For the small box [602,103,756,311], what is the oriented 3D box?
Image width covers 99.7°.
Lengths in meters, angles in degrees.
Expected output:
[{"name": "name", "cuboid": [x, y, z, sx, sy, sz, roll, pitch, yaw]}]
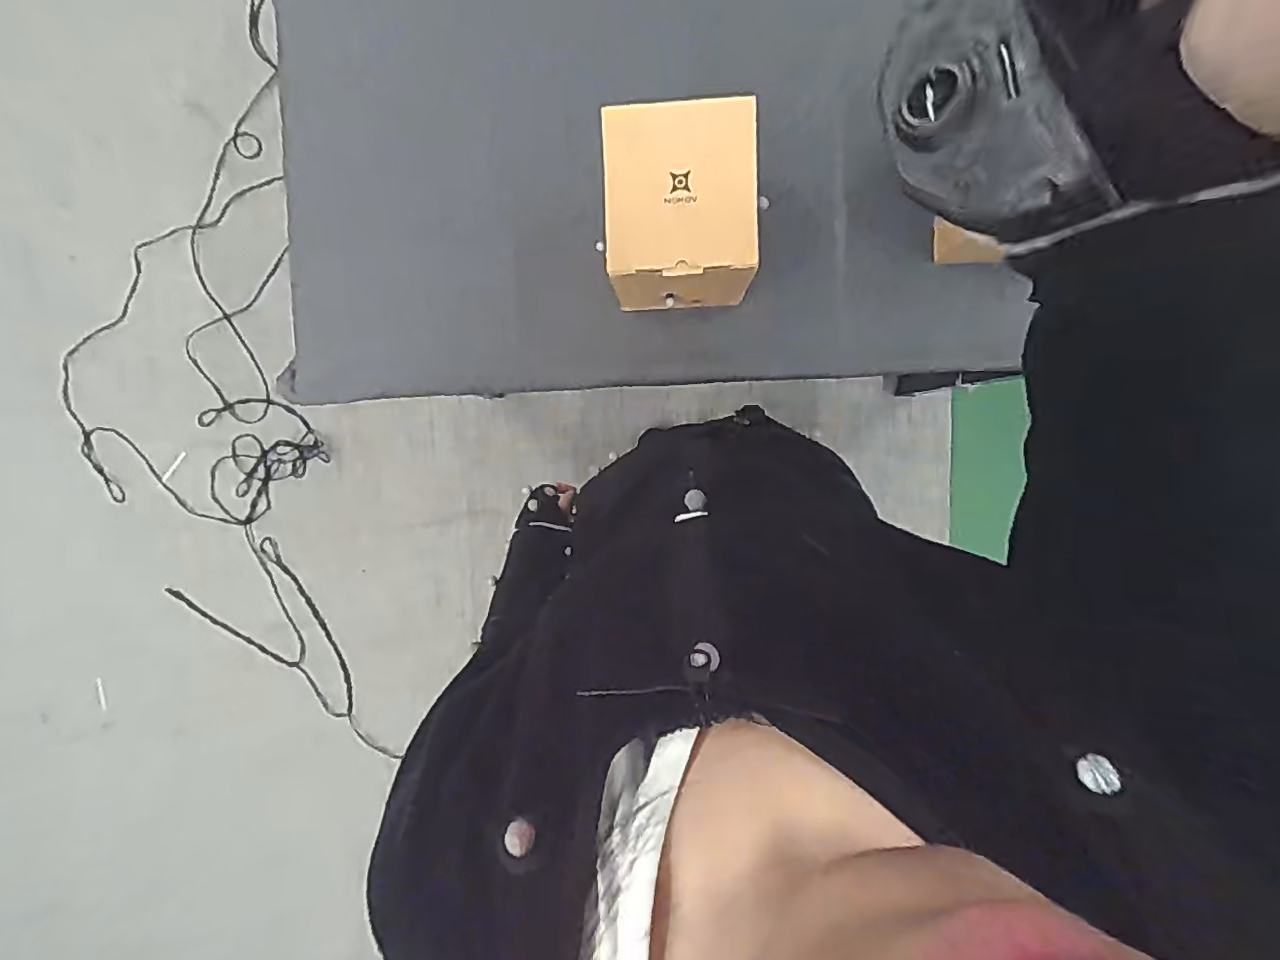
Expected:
[{"name": "small box", "cuboid": [0.044, -0.315, 0.657, 0.168, 0.176, 0.179, -2, 95, 2]}]
